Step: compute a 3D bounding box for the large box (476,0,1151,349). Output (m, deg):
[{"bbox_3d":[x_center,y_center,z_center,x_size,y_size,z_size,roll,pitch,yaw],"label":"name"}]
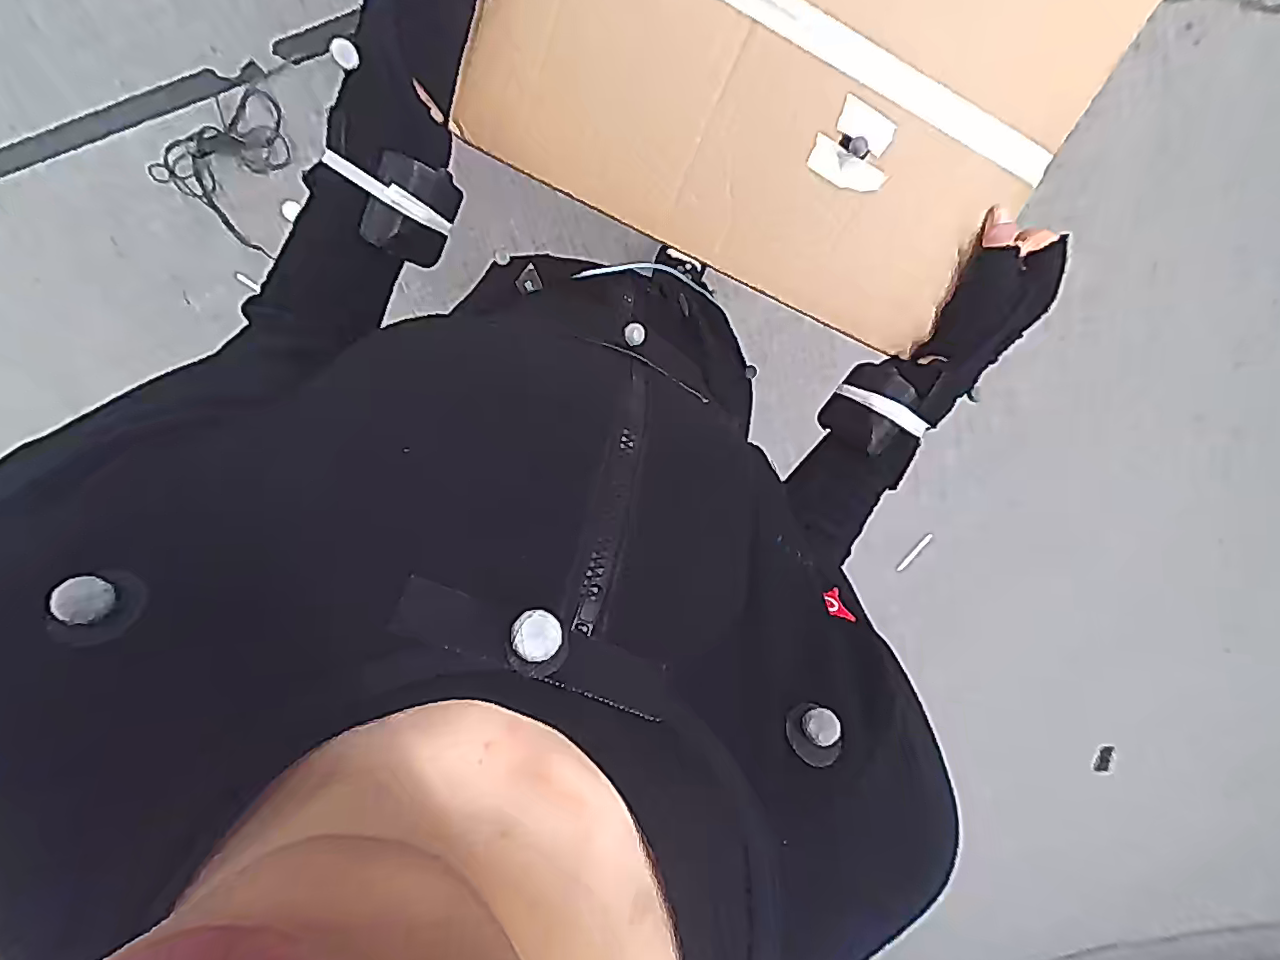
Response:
[{"bbox_3d":[0.115,-0.372,0.502,0.408,0.320,0.320,22,115,-12],"label":"large box"}]
